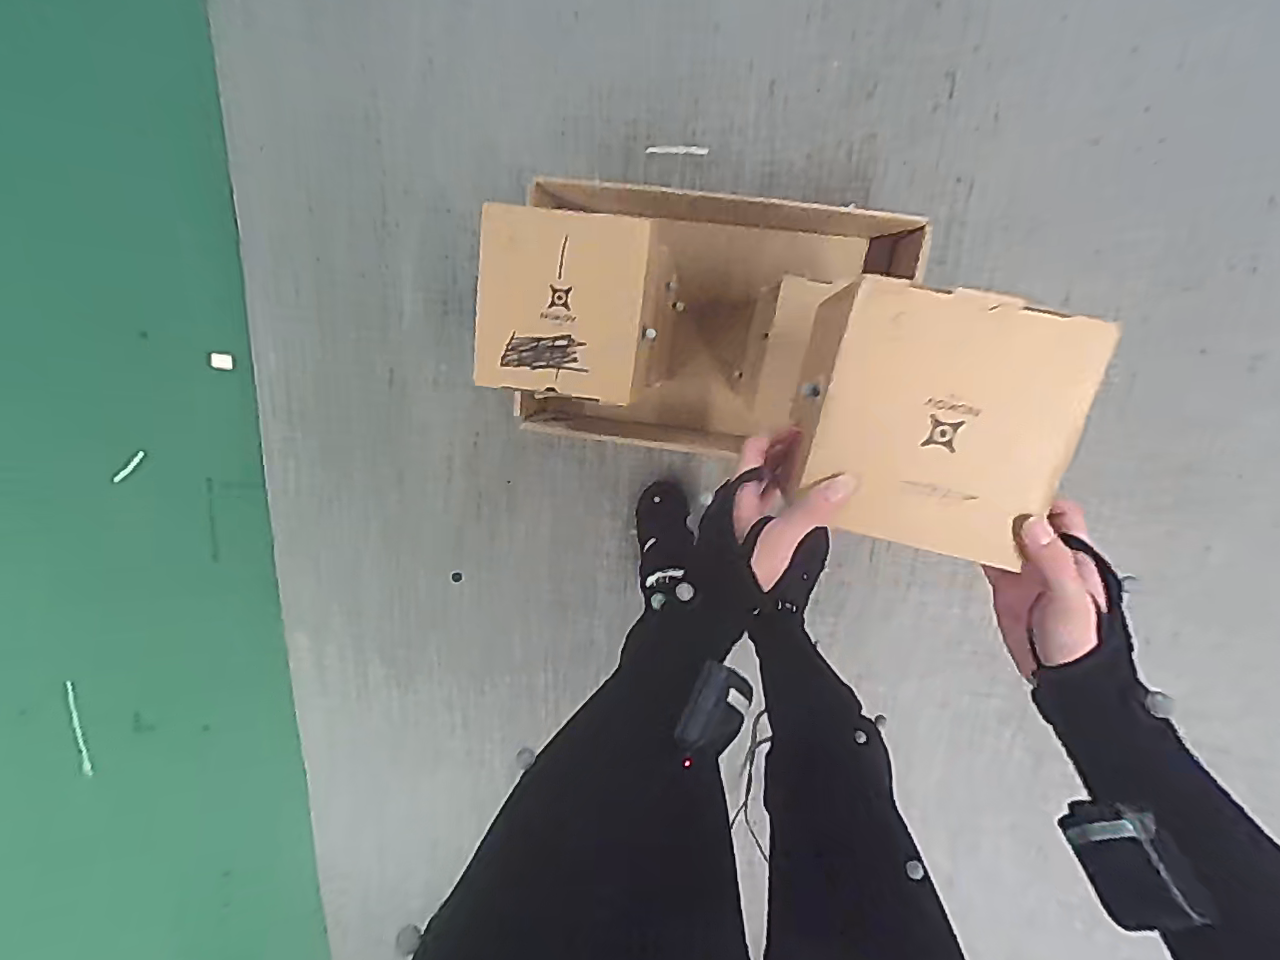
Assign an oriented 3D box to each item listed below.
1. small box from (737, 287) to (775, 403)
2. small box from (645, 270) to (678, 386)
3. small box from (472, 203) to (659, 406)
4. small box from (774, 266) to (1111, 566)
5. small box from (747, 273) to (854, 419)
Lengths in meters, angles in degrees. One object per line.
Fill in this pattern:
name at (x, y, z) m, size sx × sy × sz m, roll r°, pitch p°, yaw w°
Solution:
small box at (0.259, -0.213, 0.900) m, size 0.168 × 0.176 × 0.179 m, roll 9°, pitch 105°, yaw 5°
small box at (-0.027, -0.261, 0.921) m, size 0.168 × 0.176 × 0.179 m, roll 9°, pitch 104°, yaw 5°
small box at (-0.073, -0.186, 0.605) m, size 0.168 × 0.176 × 0.179 m, roll 8°, pitch 103°, yaw 4°
small box at (0.216, -0.056, 0.446) m, size 0.168 × 0.176 × 0.179 m, roll 14°, pitch 103°, yaw 6°
small box at (0.247, -0.169, 0.742) m, size 0.168 × 0.176 × 0.179 m, roll 11°, pitch 105°, yaw 4°
